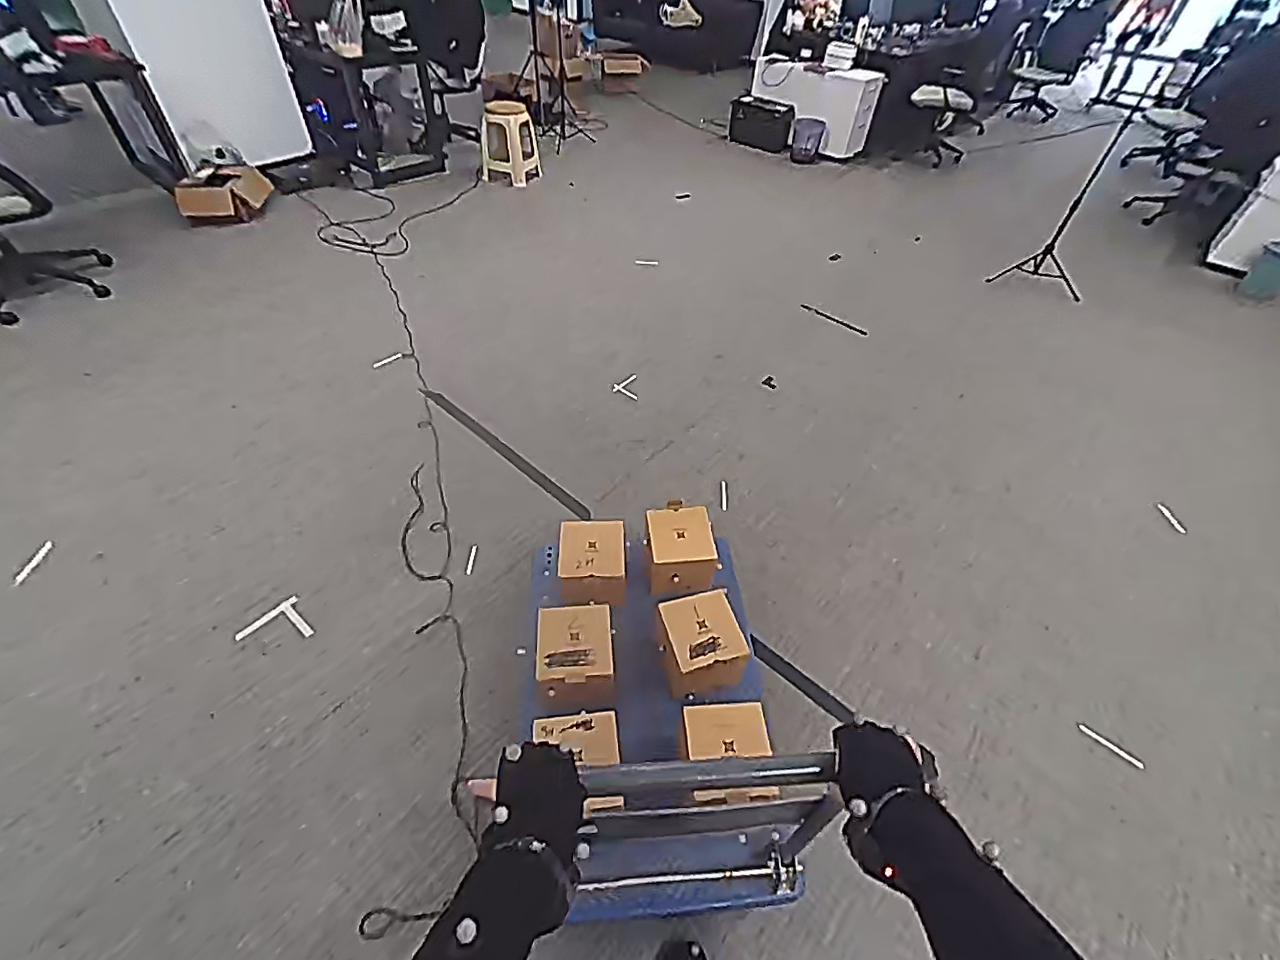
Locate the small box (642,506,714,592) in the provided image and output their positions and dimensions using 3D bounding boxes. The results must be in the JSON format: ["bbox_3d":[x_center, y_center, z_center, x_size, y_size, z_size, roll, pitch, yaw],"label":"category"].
[{"bbox_3d":[0.098,0.195,1.484,0.168,0.176,0.179,-4,47,-7],"label":"small box"}]

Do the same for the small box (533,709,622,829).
[{"bbox_3d":[-0.126,0.590,1.096,0.168,0.176,0.179,-3,47,-8],"label":"small box"}]

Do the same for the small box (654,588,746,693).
[{"bbox_3d":[0.137,0.392,1.300,0.168,0.176,0.179,-11,47,-13],"label":"small box"}]

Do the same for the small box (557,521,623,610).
[{"bbox_3d":[-0.130,0.227,1.438,0.168,0.176,0.179,0,48,-4],"label":"small box"}]

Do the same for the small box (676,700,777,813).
[{"bbox_3d":[0.171,0.580,1.126,0.168,0.176,0.179,-1,46,-5],"label":"small box"}]
